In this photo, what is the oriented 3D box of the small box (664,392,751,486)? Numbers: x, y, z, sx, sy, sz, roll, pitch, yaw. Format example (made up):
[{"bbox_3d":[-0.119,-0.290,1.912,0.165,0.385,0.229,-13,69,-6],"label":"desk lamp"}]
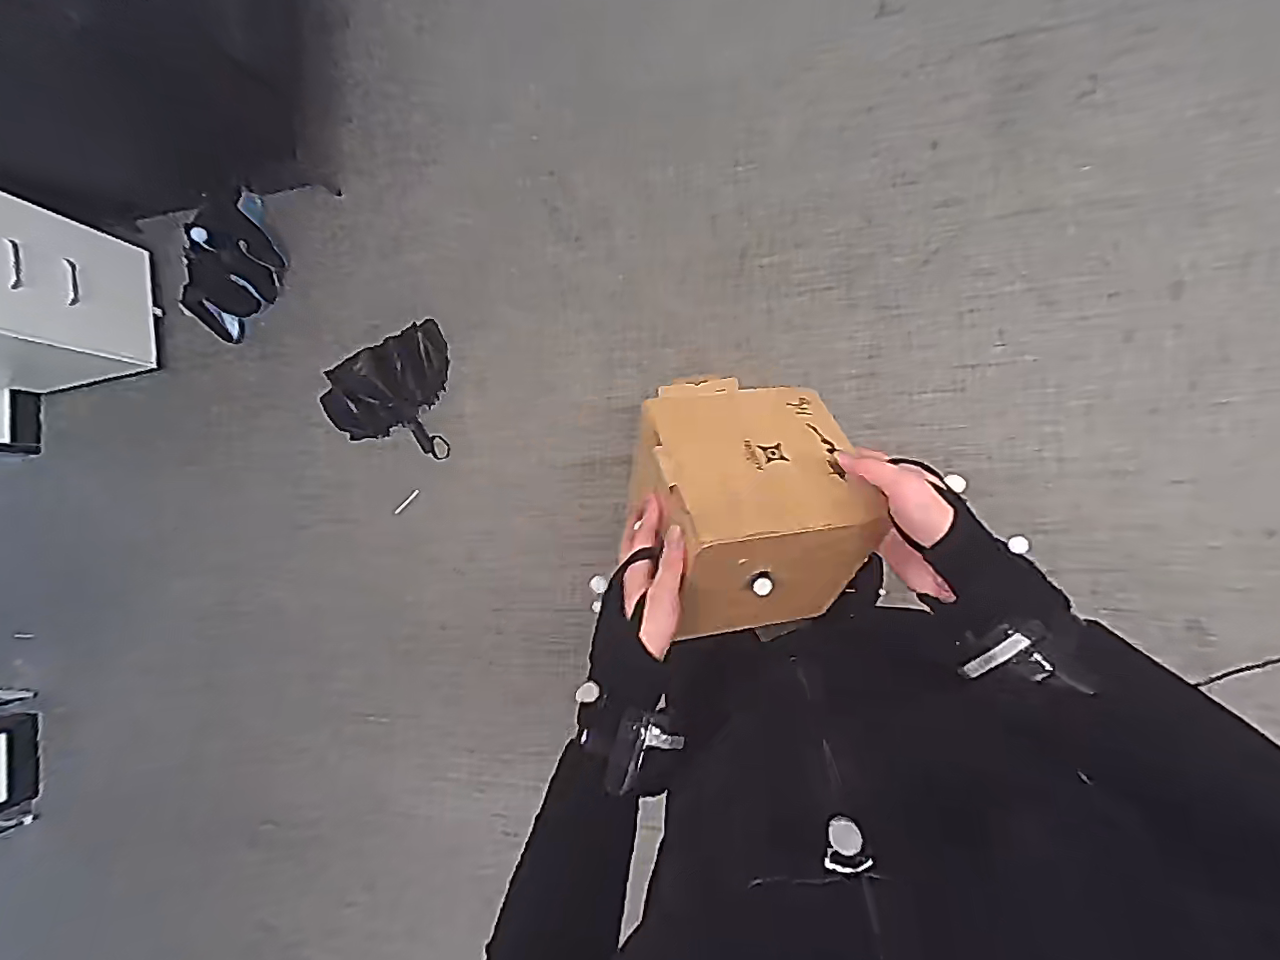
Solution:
[{"bbox_3d":[0.151,-0.081,1.176,0.168,0.176,0.179,-5,87,14],"label":"small box"}]
